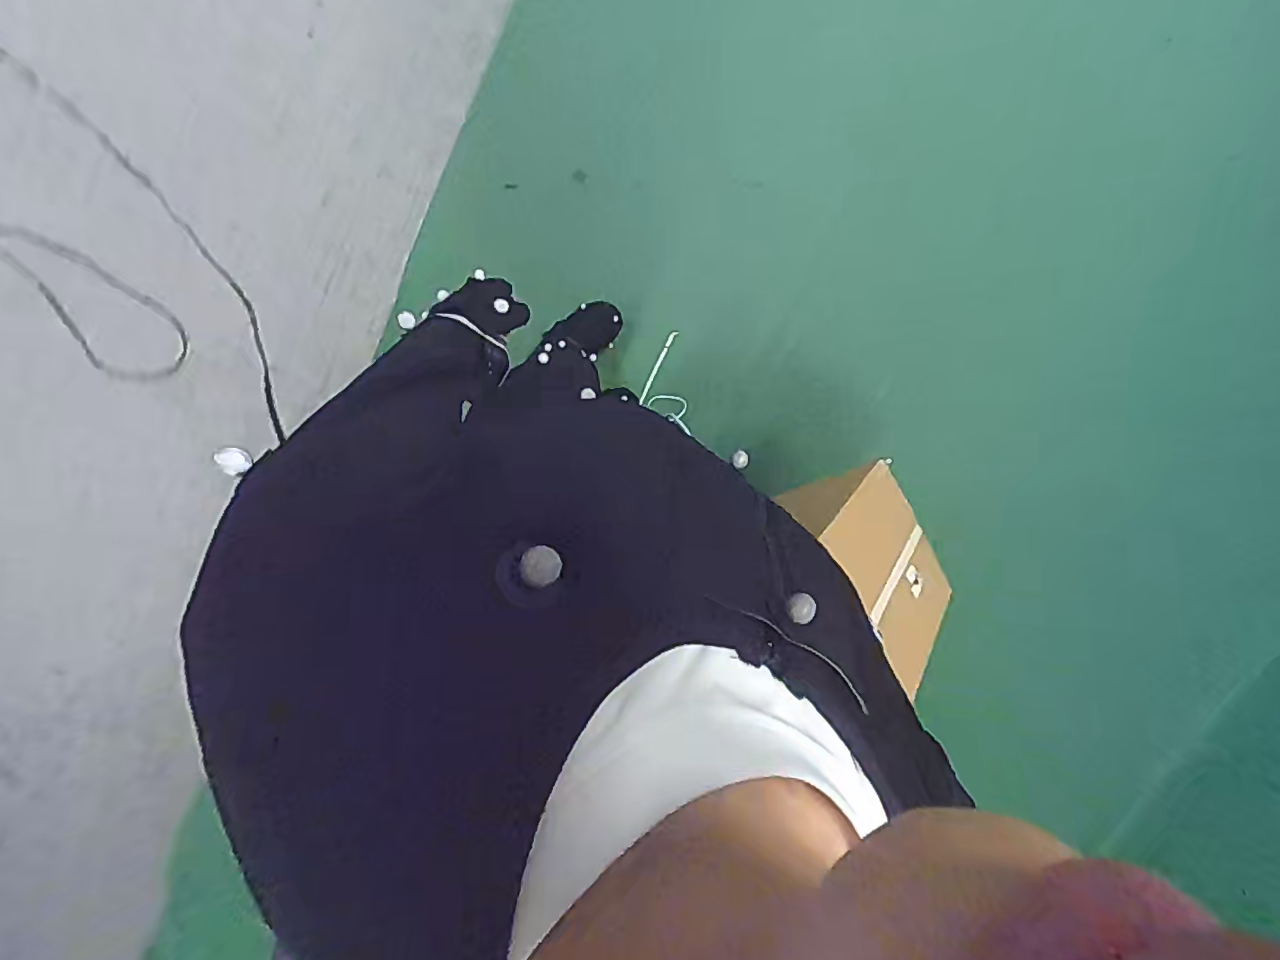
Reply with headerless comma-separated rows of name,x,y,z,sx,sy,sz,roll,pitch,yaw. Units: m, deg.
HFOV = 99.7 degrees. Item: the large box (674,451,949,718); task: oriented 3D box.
large box,0.340,0.200,1.050,0.320,0.408,0.320,-25,97,45
